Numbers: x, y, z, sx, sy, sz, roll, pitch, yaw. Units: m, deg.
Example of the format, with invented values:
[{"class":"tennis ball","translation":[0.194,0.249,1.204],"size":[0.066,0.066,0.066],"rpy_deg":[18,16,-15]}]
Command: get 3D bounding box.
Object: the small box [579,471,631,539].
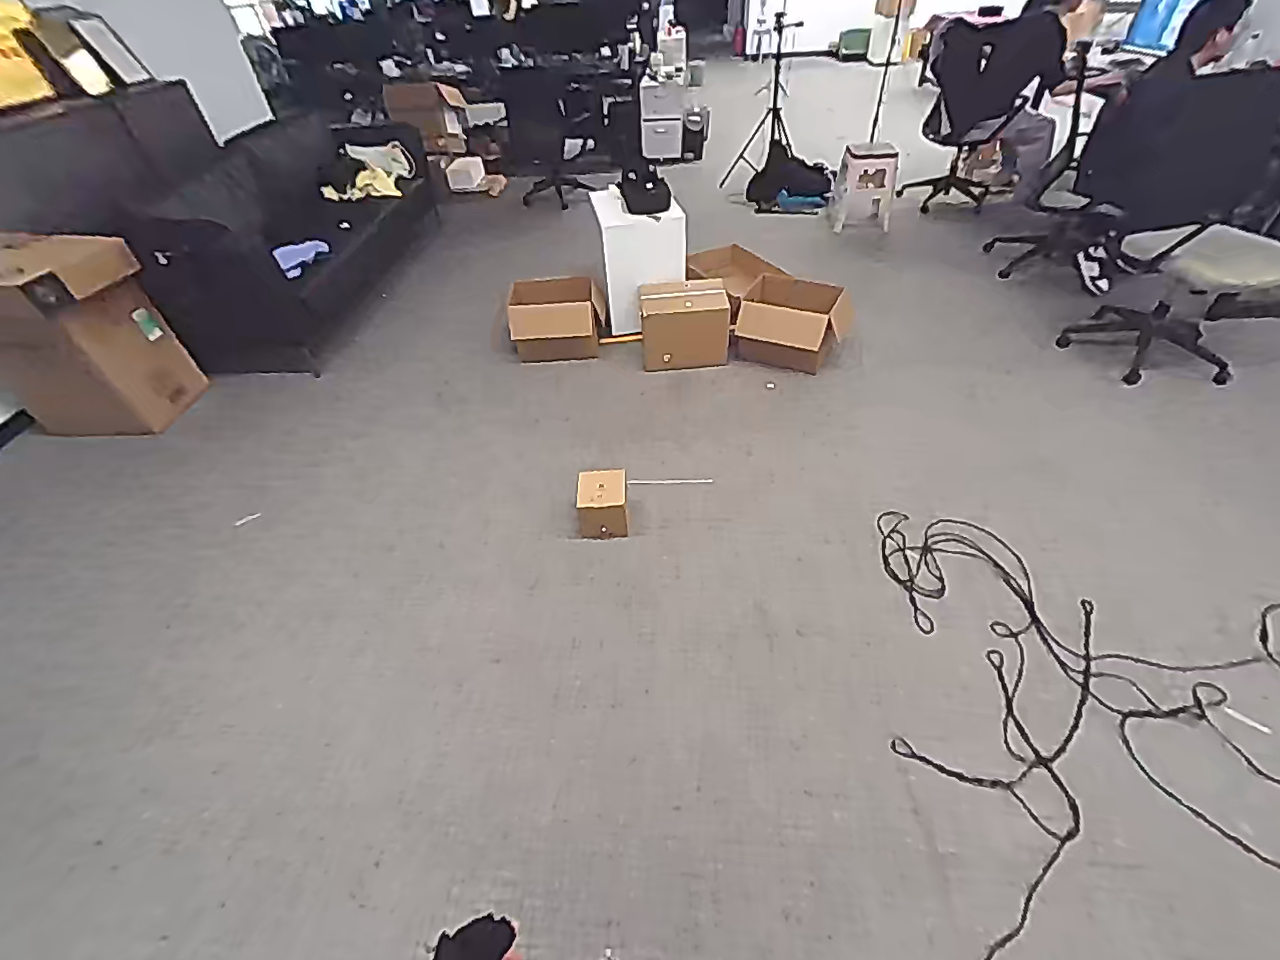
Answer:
[{"class":"small box","translation":[-0.122,0.089,1.925],"size":[0.168,0.176,0.179],"rpy_deg":[-3,44,2]}]
